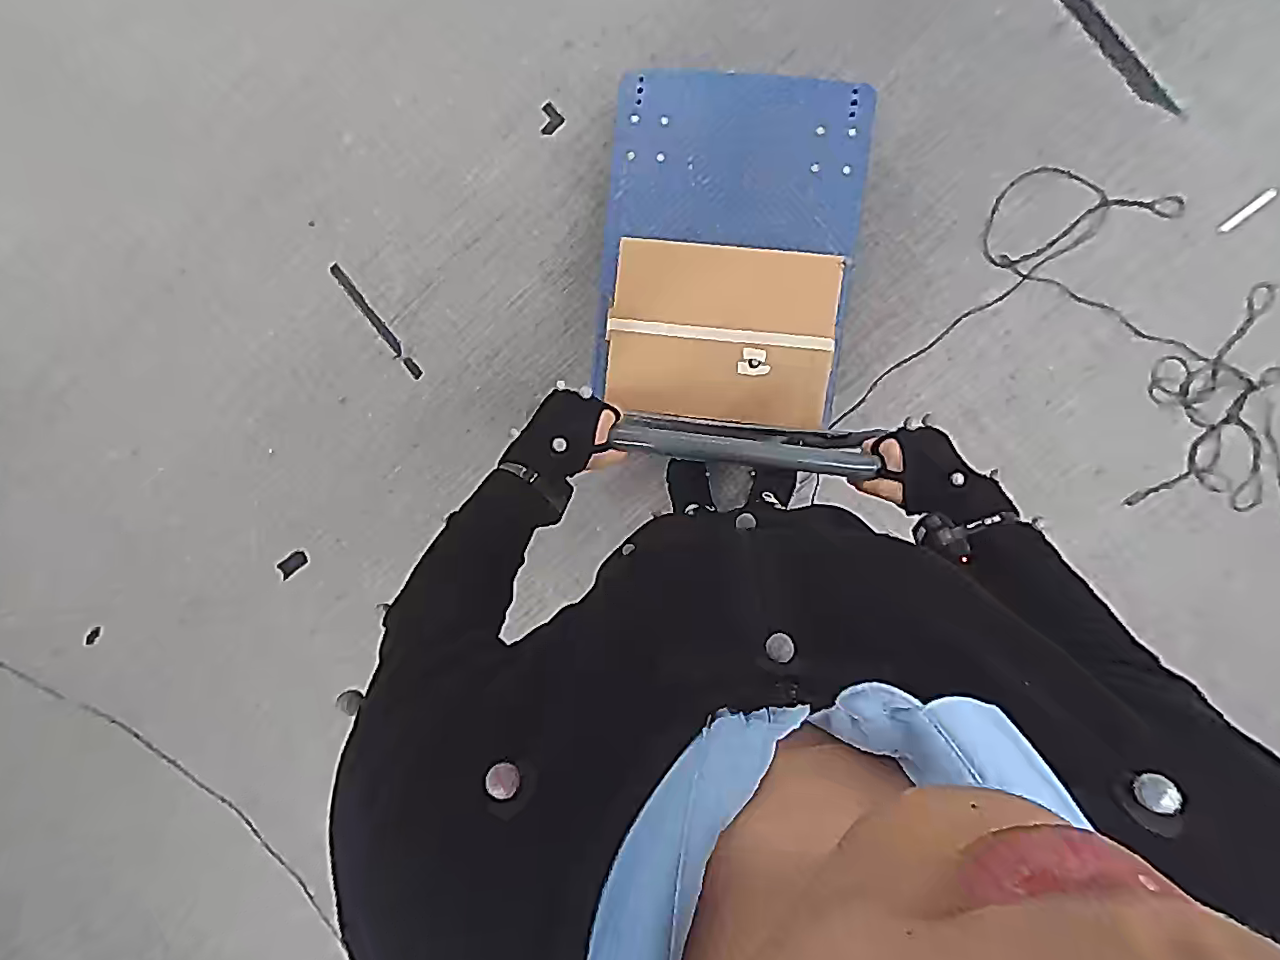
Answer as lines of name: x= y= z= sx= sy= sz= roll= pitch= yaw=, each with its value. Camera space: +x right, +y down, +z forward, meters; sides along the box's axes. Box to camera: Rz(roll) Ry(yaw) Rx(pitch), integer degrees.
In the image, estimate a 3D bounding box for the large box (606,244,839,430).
large box: x=0.155 y=-0.276 z=1.138 sx=0.408 sy=0.320 sz=0.320 roll=6 pitch=97 yaw=4
